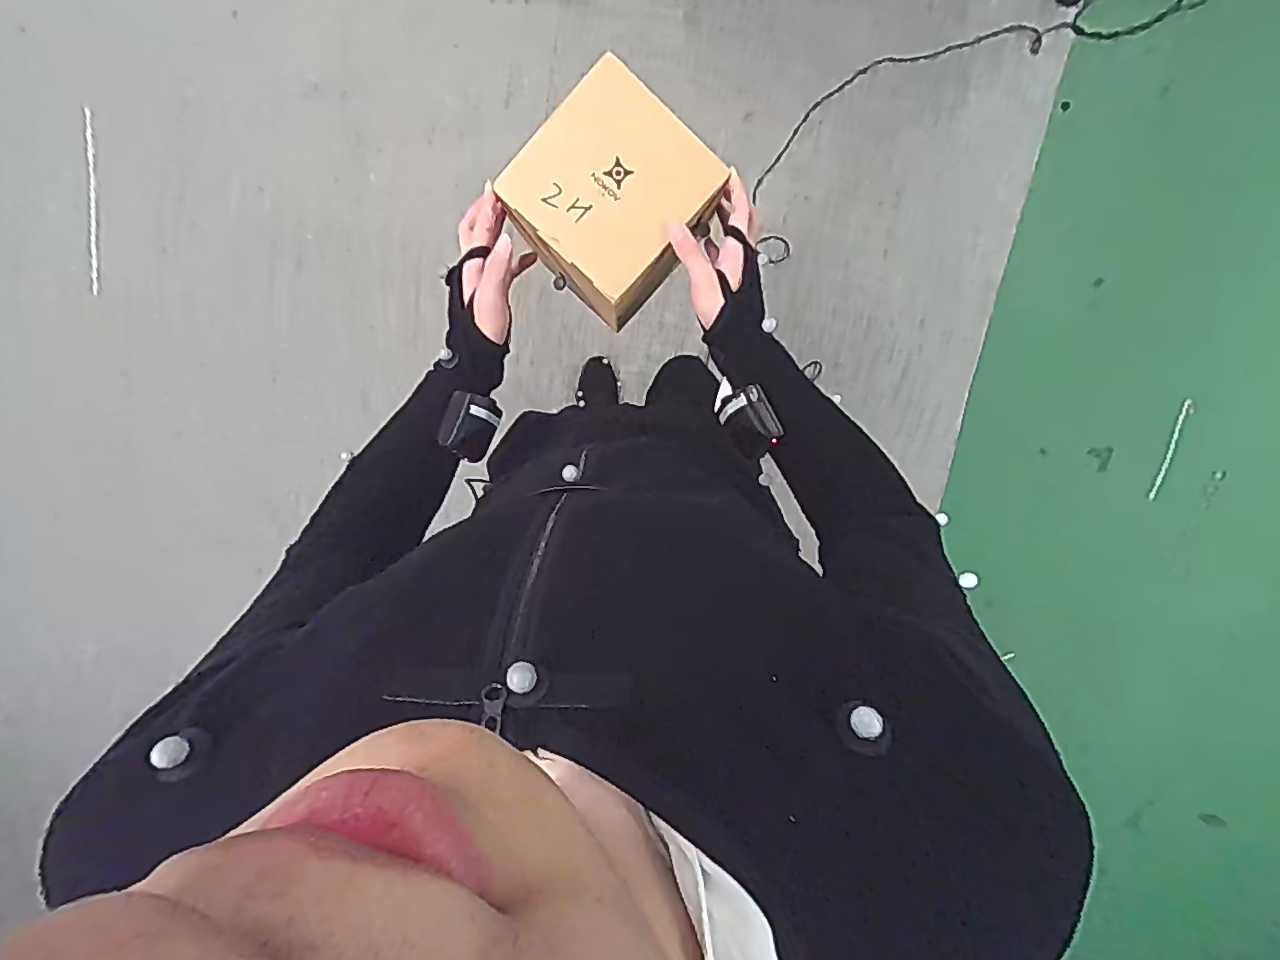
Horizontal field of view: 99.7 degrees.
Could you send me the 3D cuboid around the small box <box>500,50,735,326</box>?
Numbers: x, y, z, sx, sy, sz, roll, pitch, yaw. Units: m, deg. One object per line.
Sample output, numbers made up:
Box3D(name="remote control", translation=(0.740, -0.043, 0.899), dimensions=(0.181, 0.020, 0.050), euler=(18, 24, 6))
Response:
Box3D(name="small box", translation=(-0.025, -0.303, 0.605), dimensions=(0.168, 0.176, 0.179), euler=(43, 91, -4))
